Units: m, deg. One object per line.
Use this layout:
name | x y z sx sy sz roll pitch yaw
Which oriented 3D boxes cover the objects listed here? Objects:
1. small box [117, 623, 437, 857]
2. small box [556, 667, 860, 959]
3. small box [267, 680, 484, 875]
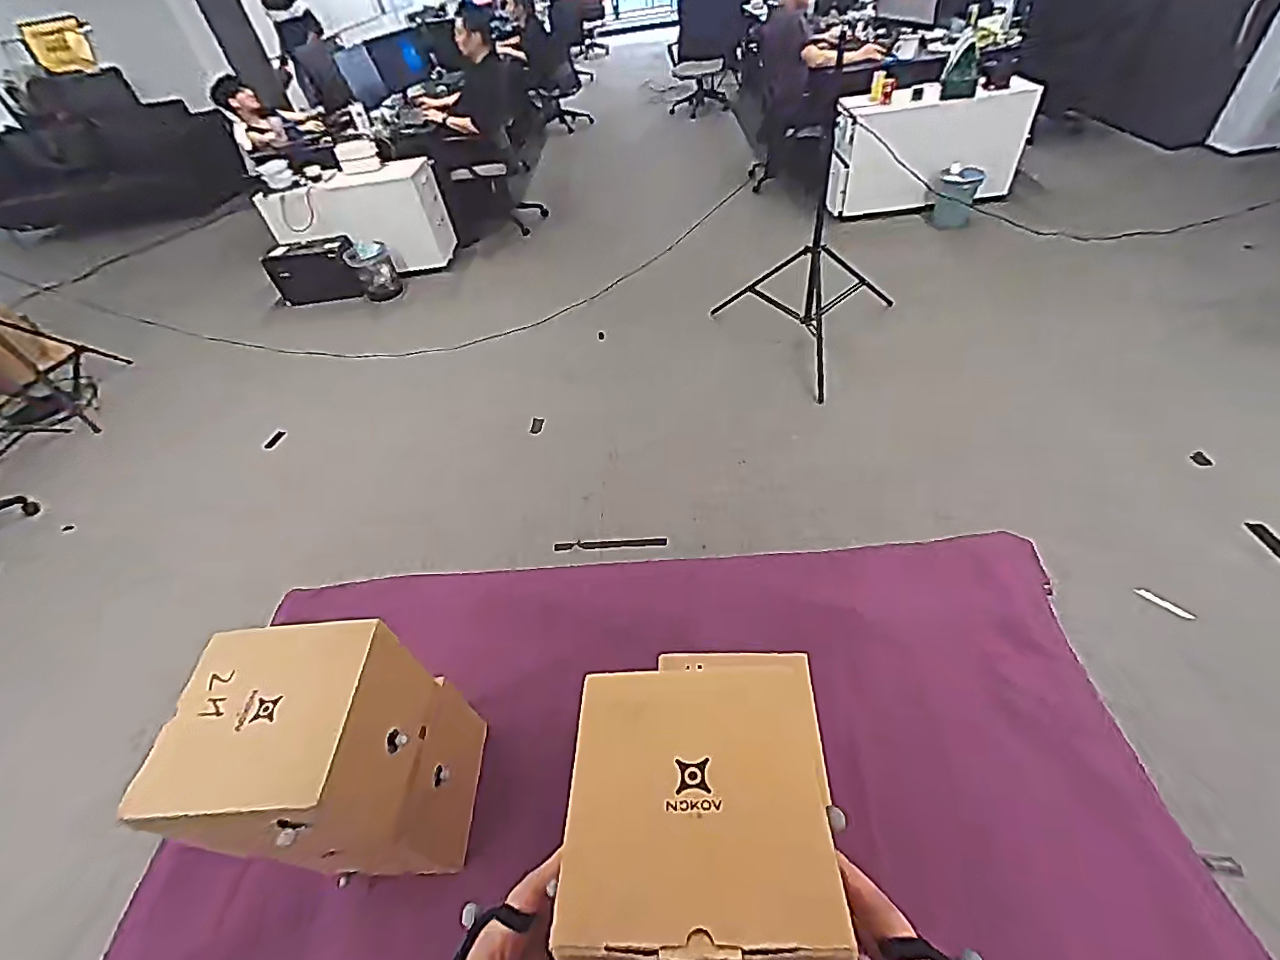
small box | -0.327 0.262 0.539 0.179 0.176 0.168 -6 46 3
small box | 0.046 0.265 0.401 0.168 0.176 0.179 -5 35 5
small box | -0.306 0.369 0.663 0.168 0.176 0.179 -5 45 4
